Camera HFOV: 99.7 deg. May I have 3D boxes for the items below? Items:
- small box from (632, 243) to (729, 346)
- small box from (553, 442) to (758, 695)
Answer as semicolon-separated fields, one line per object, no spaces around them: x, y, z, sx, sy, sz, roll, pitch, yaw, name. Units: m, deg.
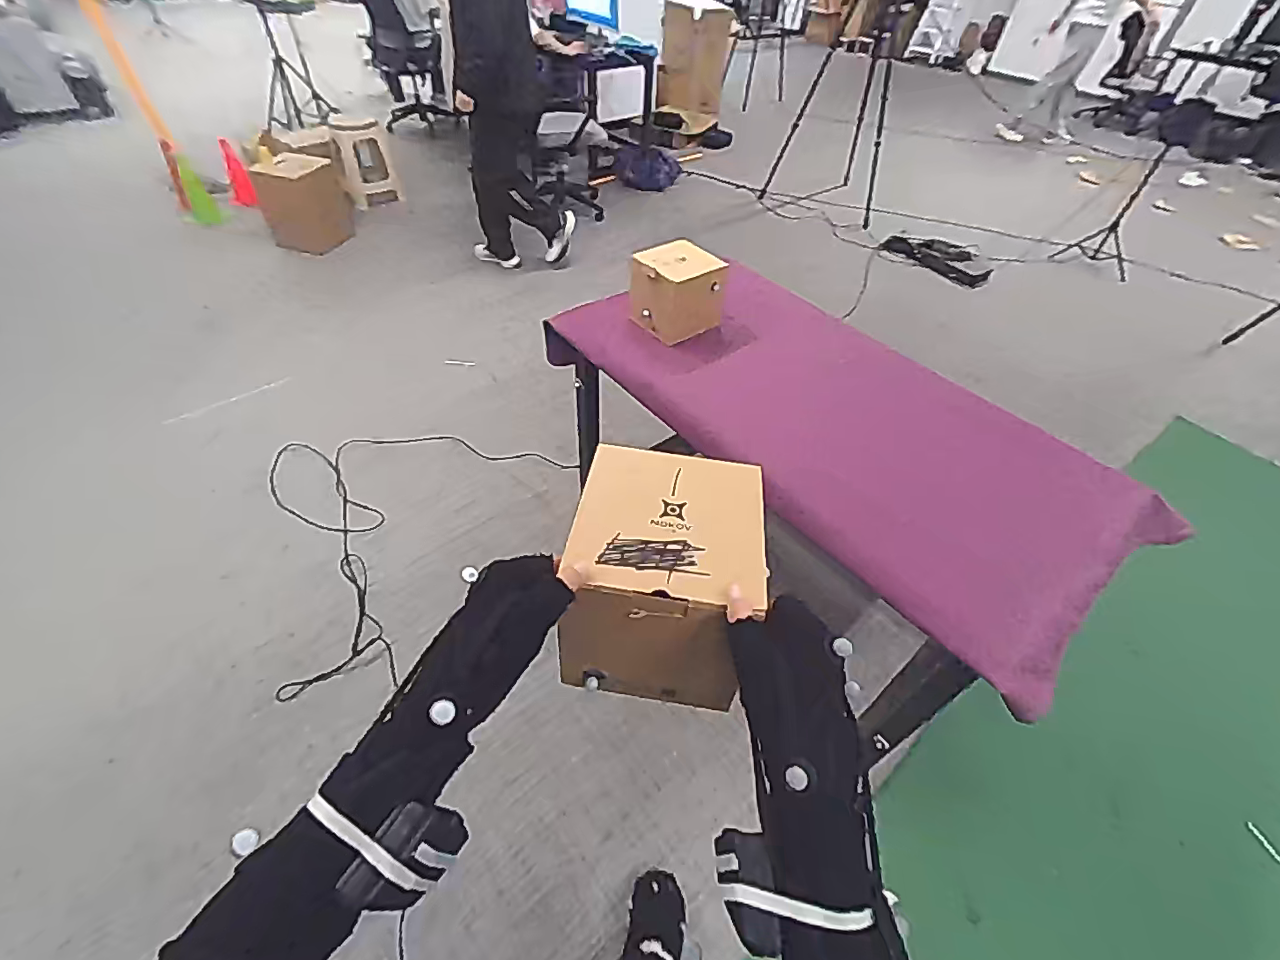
0.094;-0.465;1.358;0.179;0.176;0.168;-29;55;-27;small box
0.019;0.088;0.537;0.168;0.176;0.179;8;41;3;small box
